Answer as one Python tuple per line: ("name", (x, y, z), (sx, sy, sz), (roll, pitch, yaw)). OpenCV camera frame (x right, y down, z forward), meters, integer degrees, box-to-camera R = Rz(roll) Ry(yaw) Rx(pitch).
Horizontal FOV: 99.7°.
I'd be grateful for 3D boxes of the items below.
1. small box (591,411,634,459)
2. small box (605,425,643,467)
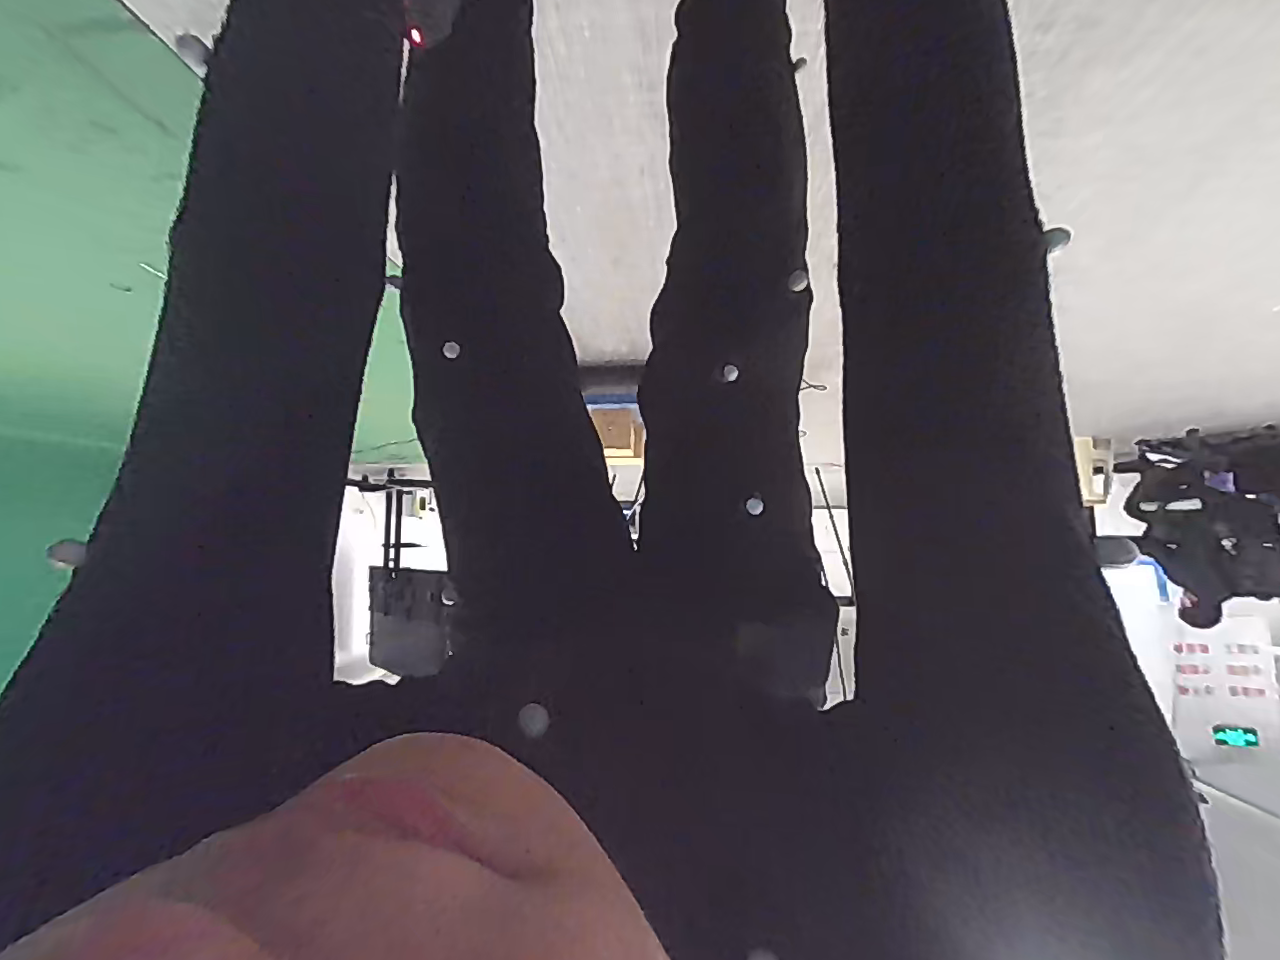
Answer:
("small box", (-0.112, -0.184, 2.224), (0.168, 0.176, 0.179), (0, 173, 3))
("small box", (-0.071, -0.156, 2.484), (0.168, 0.176, 0.179), (0, 172, 4))
